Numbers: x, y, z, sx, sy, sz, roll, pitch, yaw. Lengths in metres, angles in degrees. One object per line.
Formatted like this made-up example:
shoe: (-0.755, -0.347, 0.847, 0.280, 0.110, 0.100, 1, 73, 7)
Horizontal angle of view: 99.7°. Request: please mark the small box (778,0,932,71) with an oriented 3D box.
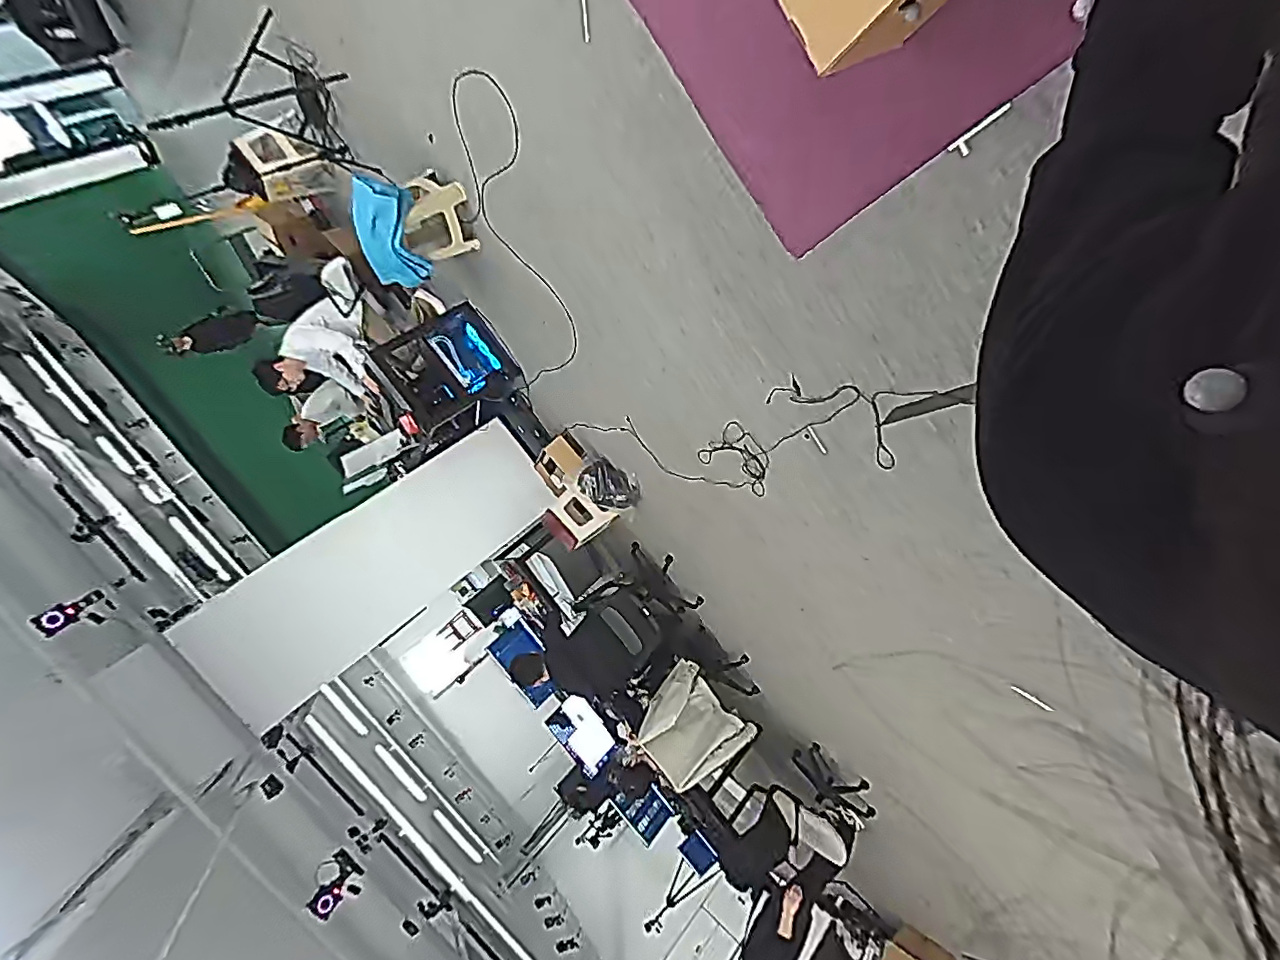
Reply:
small box: (0.228, -0.532, 0.490, 0.168, 0.176, 0.179, 56, 153, -11)
